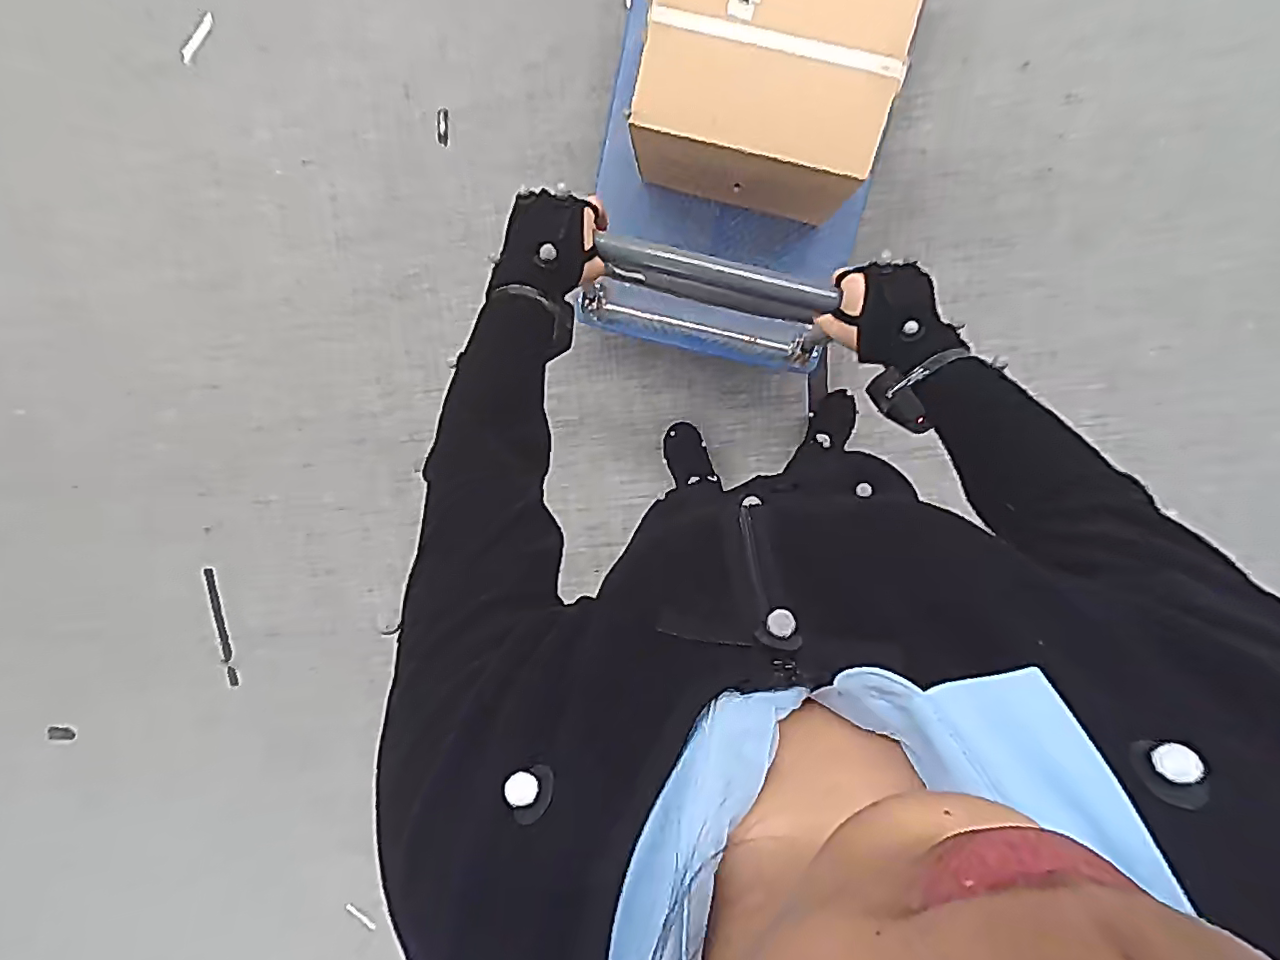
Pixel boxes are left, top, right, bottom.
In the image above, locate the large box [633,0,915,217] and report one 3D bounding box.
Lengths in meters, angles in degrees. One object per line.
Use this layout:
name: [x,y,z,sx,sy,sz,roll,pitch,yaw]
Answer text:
large box: [0.228,-0.726,1.012,0.408,0.320,0.320,14,103,2]
